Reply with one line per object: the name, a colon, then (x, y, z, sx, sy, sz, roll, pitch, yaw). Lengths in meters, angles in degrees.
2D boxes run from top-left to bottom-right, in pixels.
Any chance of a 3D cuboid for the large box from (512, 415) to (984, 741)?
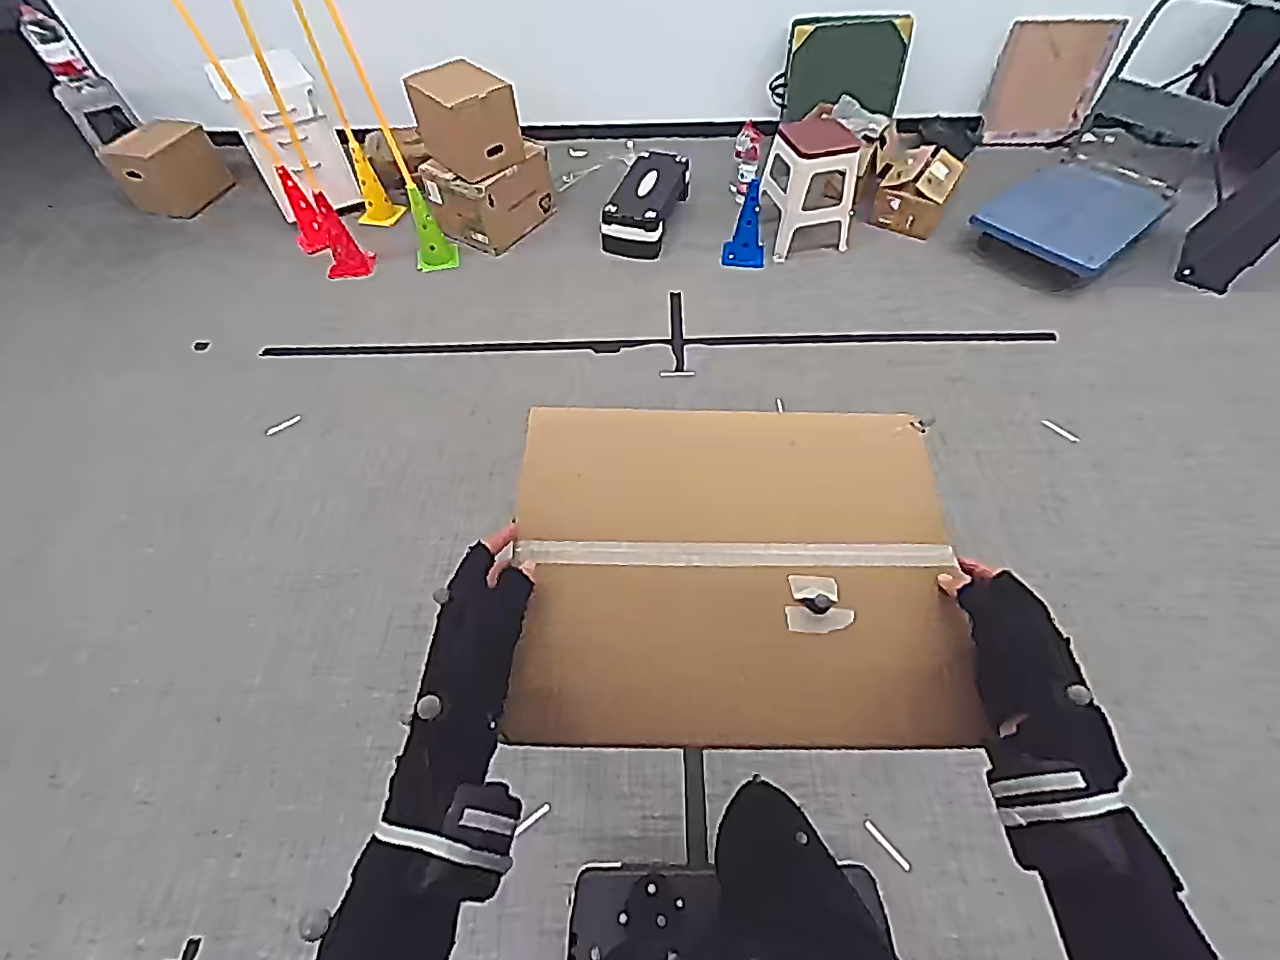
large box: (0.084, 0.135, 0.643, 0.408, 0.320, 0.320, 1, 65, -2)
